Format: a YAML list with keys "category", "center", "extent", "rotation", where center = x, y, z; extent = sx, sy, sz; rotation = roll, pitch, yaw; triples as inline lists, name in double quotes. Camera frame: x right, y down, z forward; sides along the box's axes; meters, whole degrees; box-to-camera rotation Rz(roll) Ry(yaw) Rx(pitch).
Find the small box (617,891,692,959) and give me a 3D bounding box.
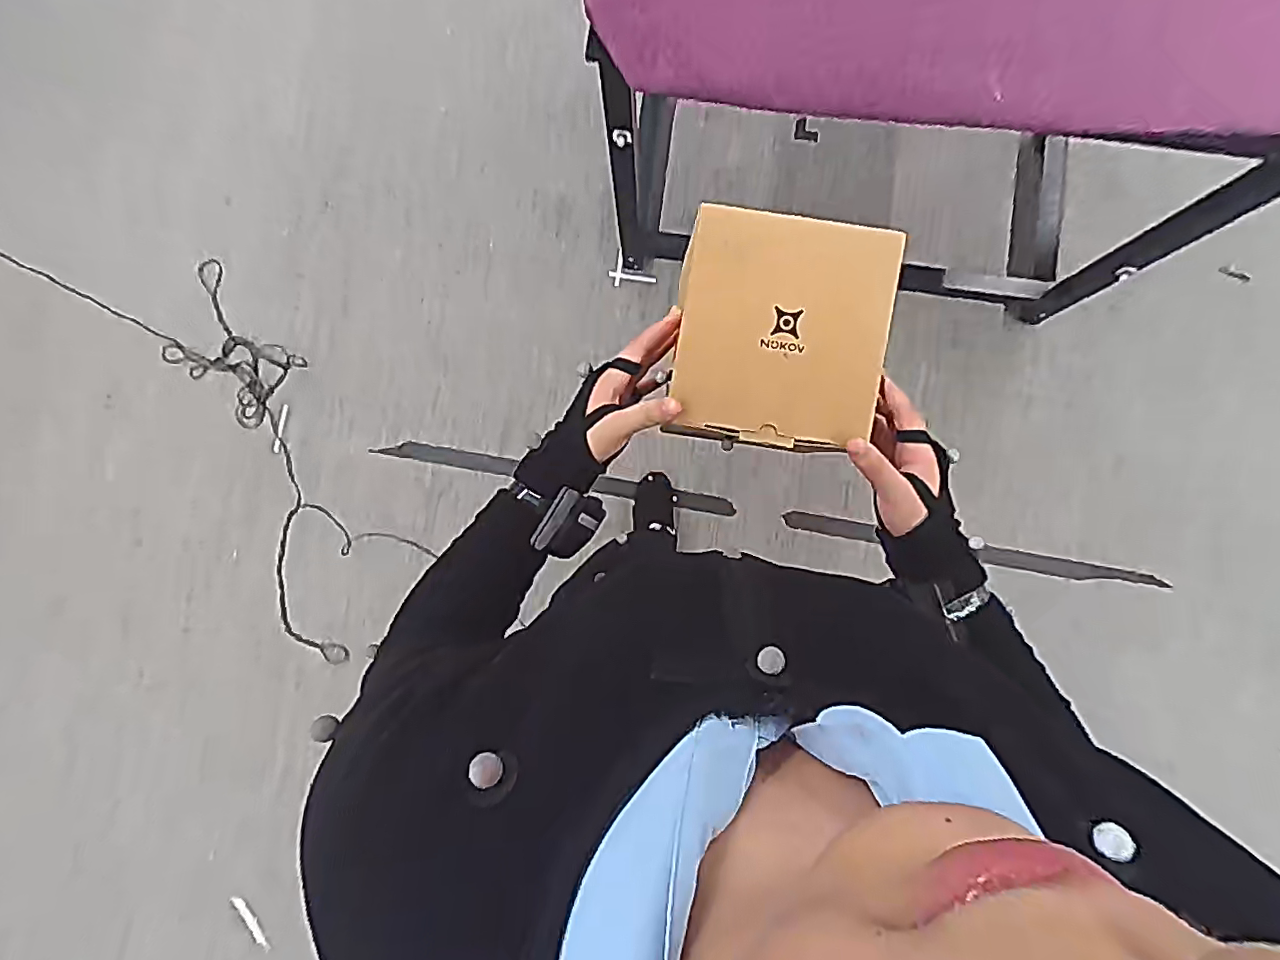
- category: "small box"
  center: [0.030, 1.130, 1.295]
  extent: [0.168, 0.176, 0.179]
  rotation: [4, 86, 2]
